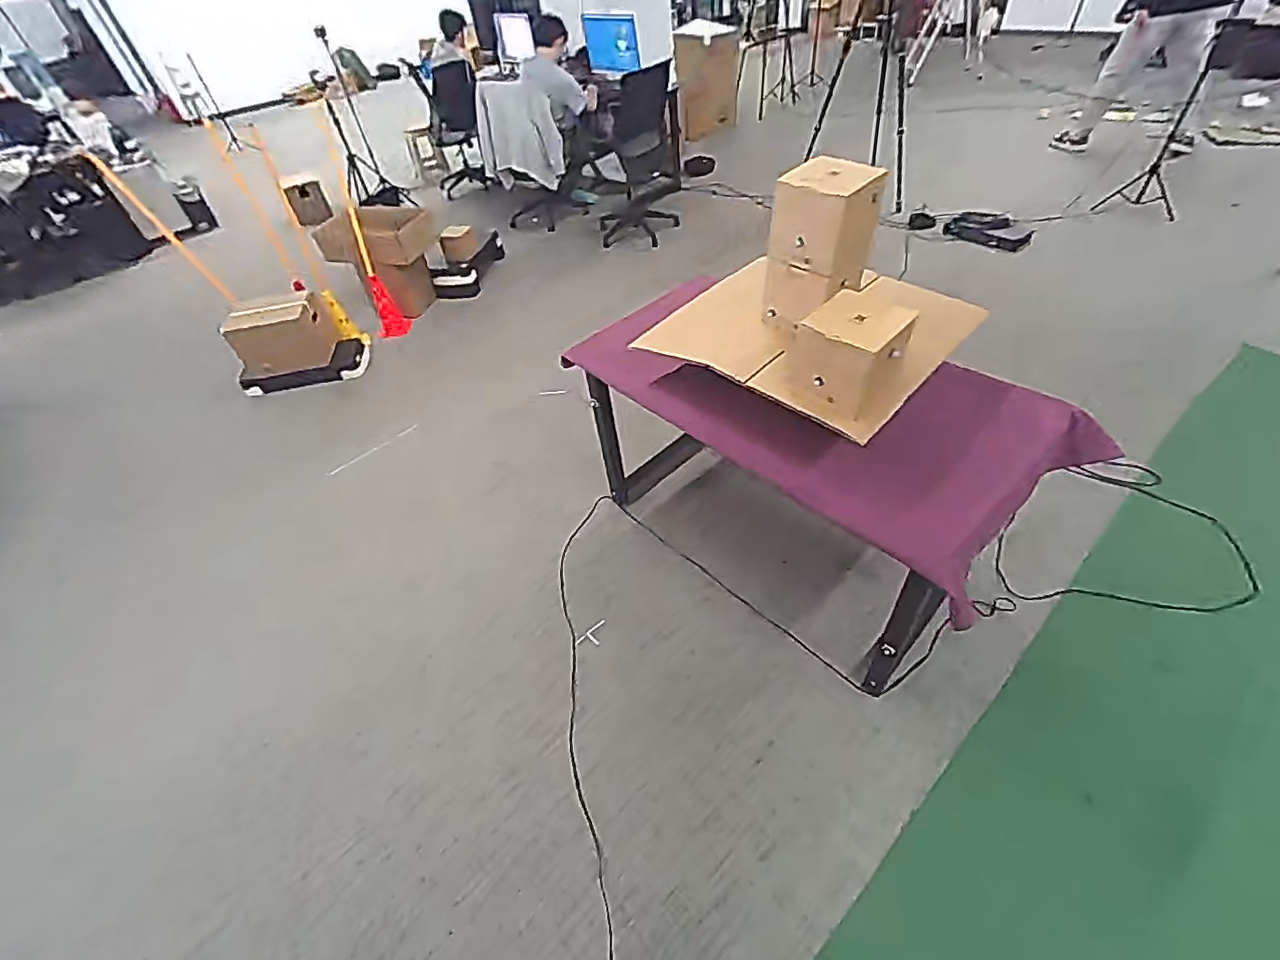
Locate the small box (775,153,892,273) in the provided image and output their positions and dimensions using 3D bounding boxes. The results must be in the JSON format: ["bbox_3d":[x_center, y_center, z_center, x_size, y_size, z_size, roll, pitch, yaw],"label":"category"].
[{"bbox_3d":[0.413,-0.586,1.186,0.168,0.176,0.179,35,60,30],"label":"small box"}]

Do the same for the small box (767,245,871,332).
[{"bbox_3d":[0.423,-0.475,1.307,0.168,0.176,0.179,35,59,30],"label":"small box"}]

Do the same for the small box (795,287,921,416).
[{"bbox_3d":[0.442,-0.266,1.122,0.168,0.176,0.179,35,61,31],"label":"small box"}]
